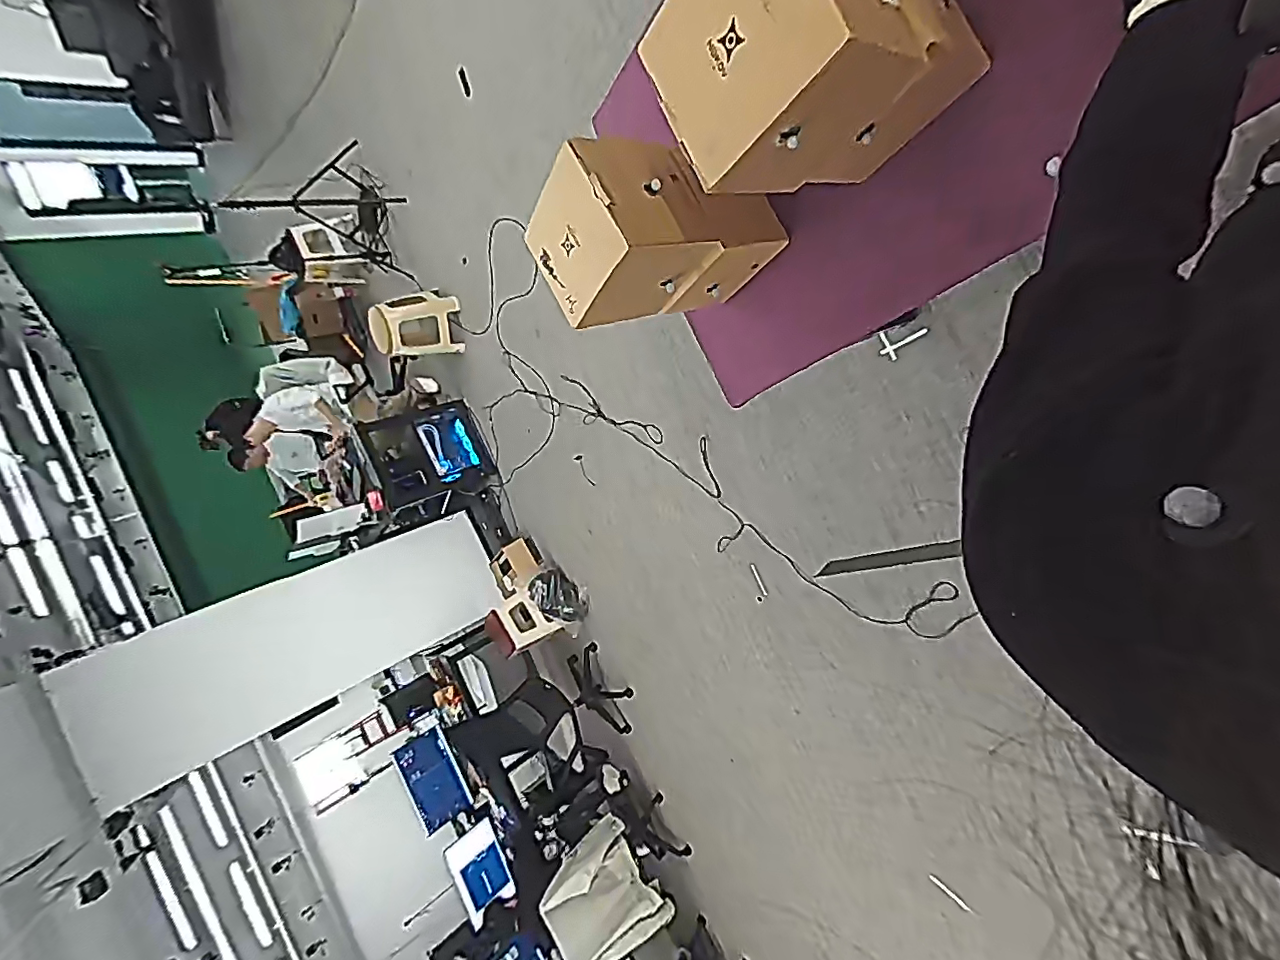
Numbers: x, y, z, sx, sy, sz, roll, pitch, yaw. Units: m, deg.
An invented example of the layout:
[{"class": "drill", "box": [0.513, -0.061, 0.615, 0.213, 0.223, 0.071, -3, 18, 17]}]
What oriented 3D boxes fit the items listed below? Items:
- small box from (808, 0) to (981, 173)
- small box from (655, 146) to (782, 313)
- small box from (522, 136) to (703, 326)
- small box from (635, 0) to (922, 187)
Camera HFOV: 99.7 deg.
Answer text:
[{"class": "small box", "box": [0.246, -0.482, 0.623, 0.179, 0.176, 0.168, -31, 85, 53]}, {"class": "small box", "box": [0.092, -0.397, 0.861, 0.168, 0.176, 0.179, -33, 83, 53]}, {"class": "small box", "box": [-0.034, -0.348, 0.768, 0.179, 0.176, 0.168, -36, 80, 52]}, {"class": "small box", "box": [0.132, -0.416, 0.528, 0.179, 0.176, 0.168, -26, 90, 52]}]
